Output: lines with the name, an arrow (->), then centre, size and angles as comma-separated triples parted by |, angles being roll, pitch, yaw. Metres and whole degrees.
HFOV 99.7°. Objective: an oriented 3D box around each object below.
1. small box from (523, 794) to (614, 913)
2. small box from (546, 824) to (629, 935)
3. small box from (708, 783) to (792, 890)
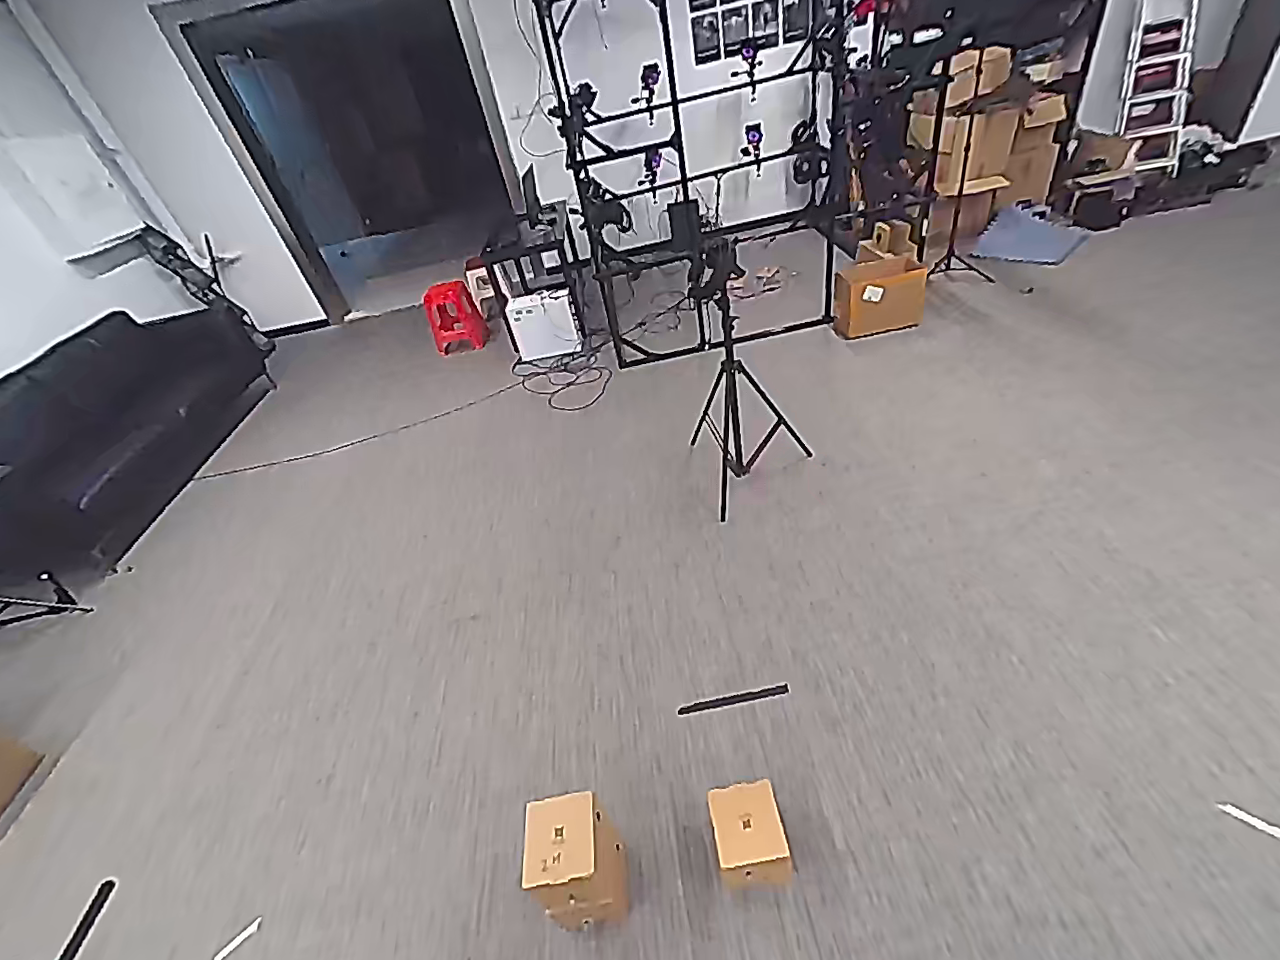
small box -> -0.163, 0.873, 1.263 | 0.168, 0.176, 0.179 | -14, 39, 3
small box -> -0.130, 1.003, 1.358 | 0.168, 0.176, 0.179 | -13, 38, 3
small box -> 0.277, 0.901, 1.360 | 0.168, 0.176, 0.179 | -13, 38, 1
